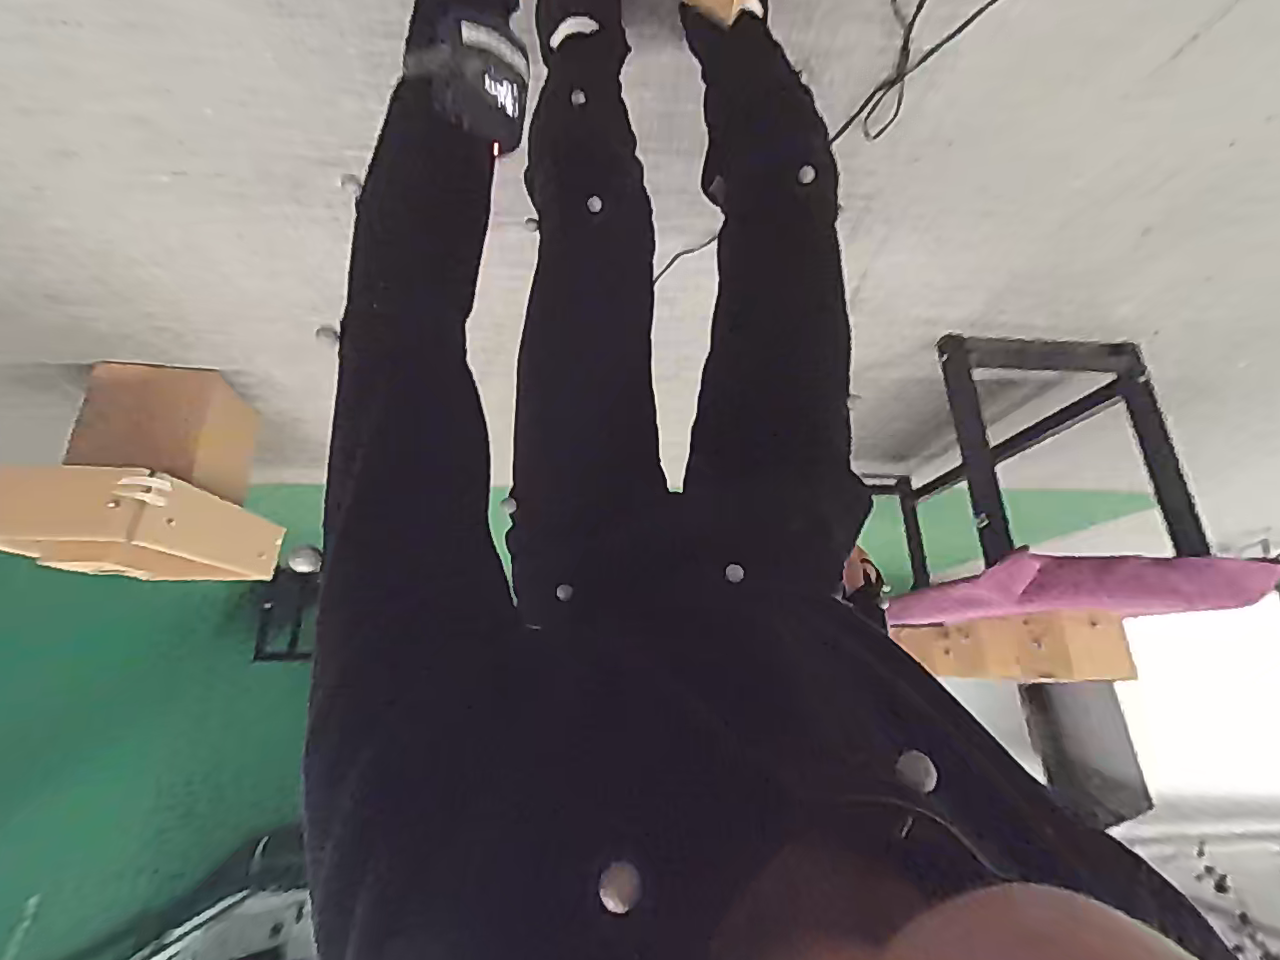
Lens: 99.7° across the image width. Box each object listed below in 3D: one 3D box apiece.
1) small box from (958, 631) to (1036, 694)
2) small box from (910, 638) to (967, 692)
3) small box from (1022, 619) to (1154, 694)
[{"bbox_3d":[1.086,0.541,1.605,0.179,0.176,0.168,1,159,-1],"label":"small box"},{"bbox_3d":[1.053,0.632,1.846,0.168,0.176,0.179,3,159,-8],"label":"small box"},{"bbox_3d":[1.109,0.445,1.356,0.179,0.176,0.168,3,159,-6],"label":"small box"}]
